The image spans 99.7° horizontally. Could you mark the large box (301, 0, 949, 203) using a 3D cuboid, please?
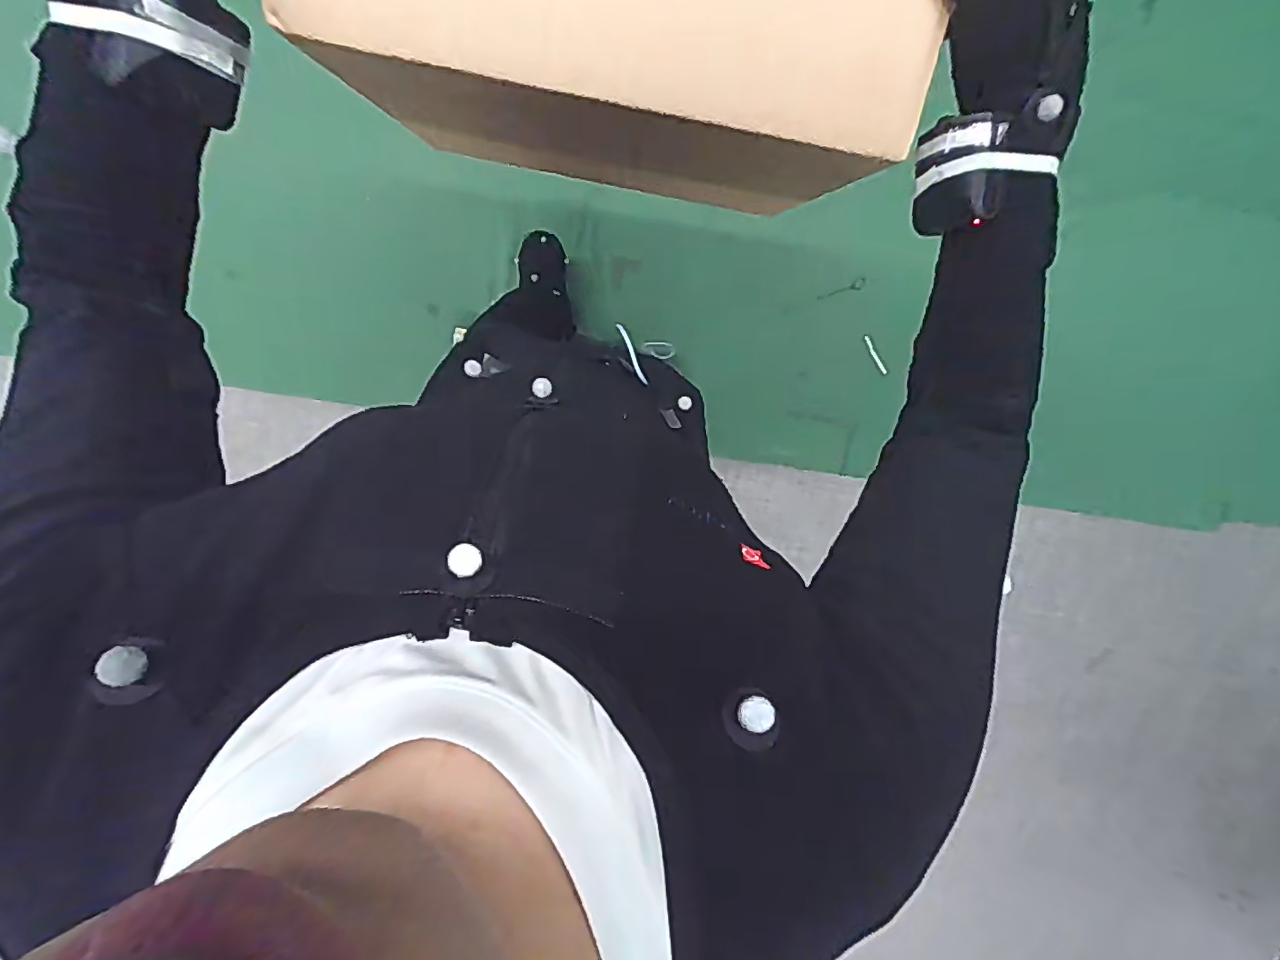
[{"bbox_3d":[0.001,-0.444,0.437,0.408,0.320,0.320,7,110,-7],"label":"large box"}]
